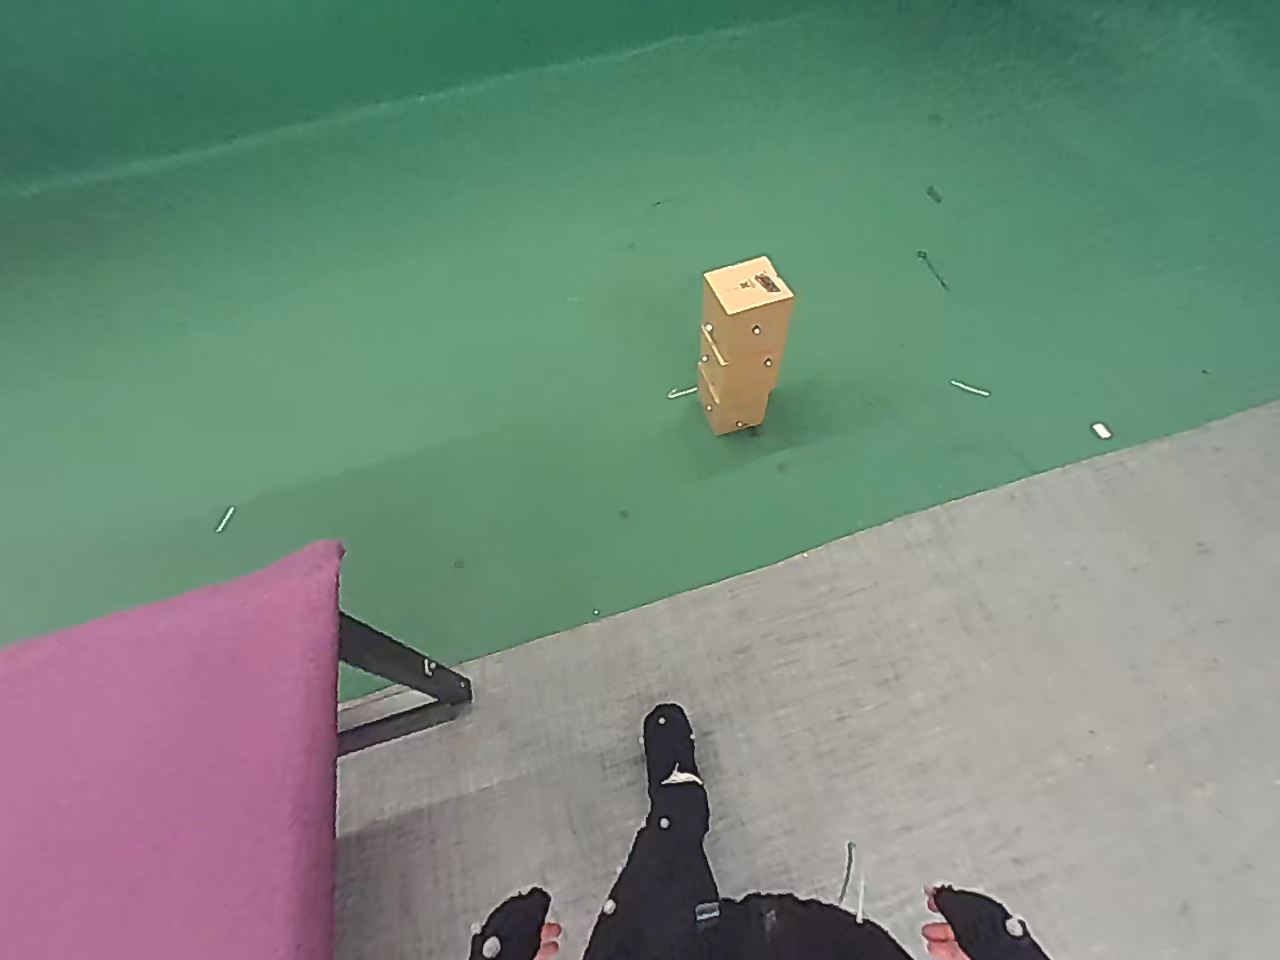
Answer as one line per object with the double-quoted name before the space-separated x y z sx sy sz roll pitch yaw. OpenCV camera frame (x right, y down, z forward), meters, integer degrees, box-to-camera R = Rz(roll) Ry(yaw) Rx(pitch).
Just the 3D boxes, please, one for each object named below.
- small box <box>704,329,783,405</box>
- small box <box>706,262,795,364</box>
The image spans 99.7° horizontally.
"small box" 0.291 -0.341 1.558 0.179 0.176 0.168 -17 59 -5
"small box" 0.282 -0.435 1.423 0.179 0.176 0.168 -18 59 -5
